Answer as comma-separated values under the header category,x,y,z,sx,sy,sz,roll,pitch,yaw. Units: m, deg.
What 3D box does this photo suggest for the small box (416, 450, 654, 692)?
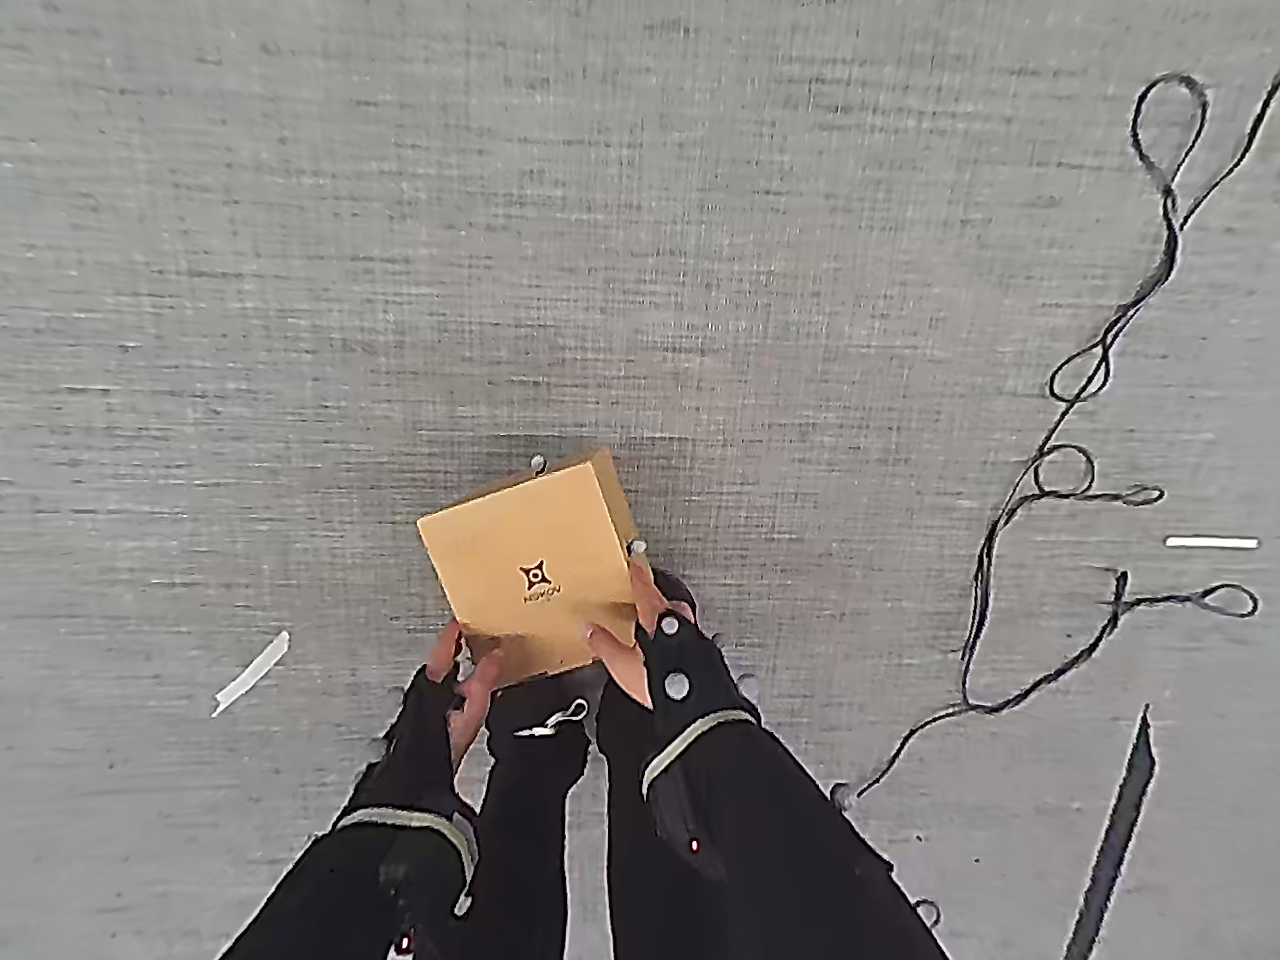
category,x,y,z,sx,sy,sz,roll,pitch,yaw
small box,-0.093,0.075,0.552,0.168,0.176,0.179,-19,99,2
